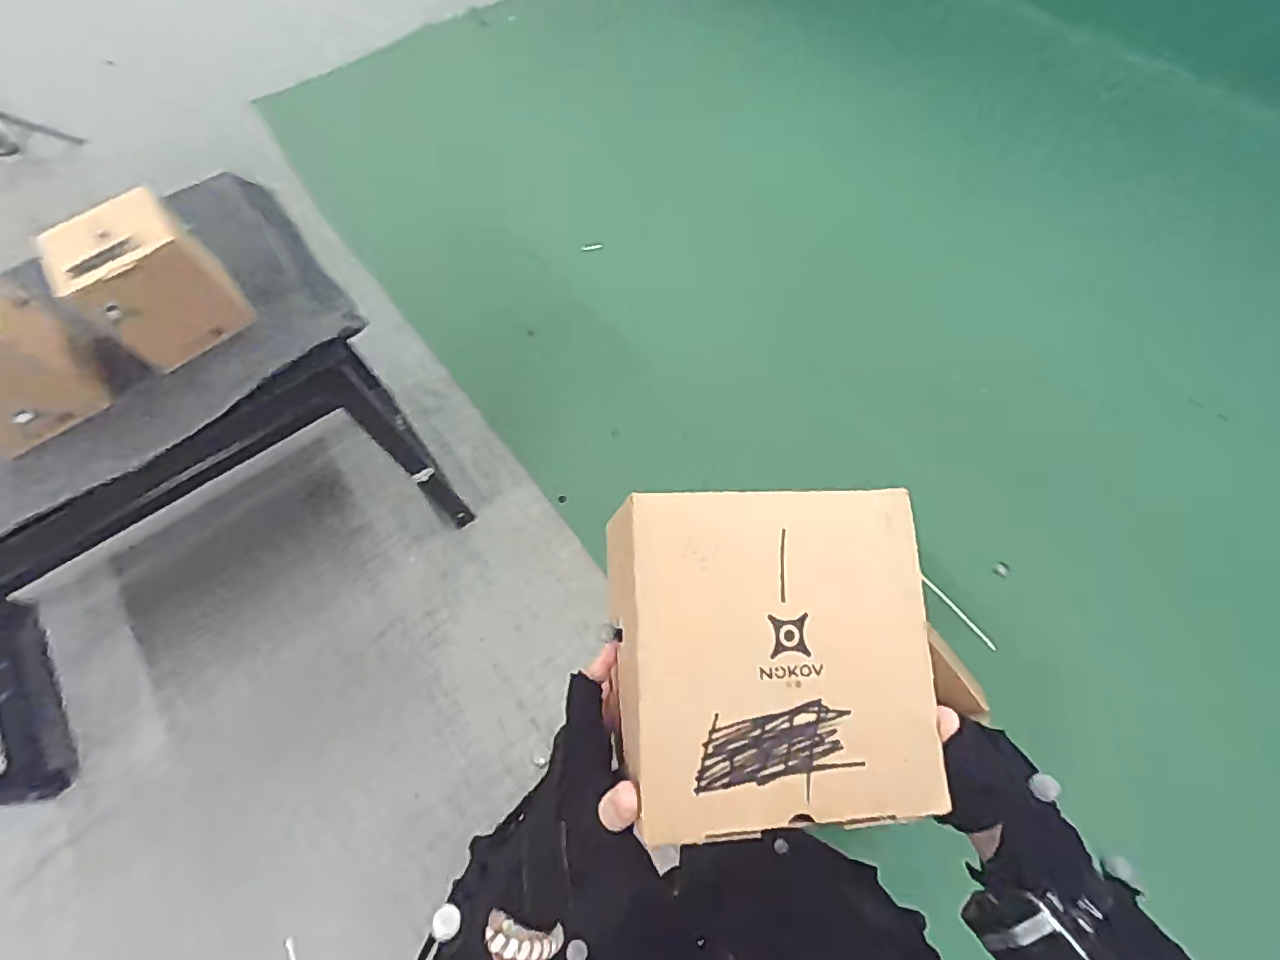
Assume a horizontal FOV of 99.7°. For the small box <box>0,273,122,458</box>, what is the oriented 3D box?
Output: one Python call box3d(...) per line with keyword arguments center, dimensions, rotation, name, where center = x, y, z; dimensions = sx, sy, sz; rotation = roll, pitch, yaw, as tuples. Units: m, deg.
box3d(center=(-0.946, -0.165, 0.811), dimensions=(0.168, 0.176, 0.179), rotation=(-36, 67, -13), name="small box")
